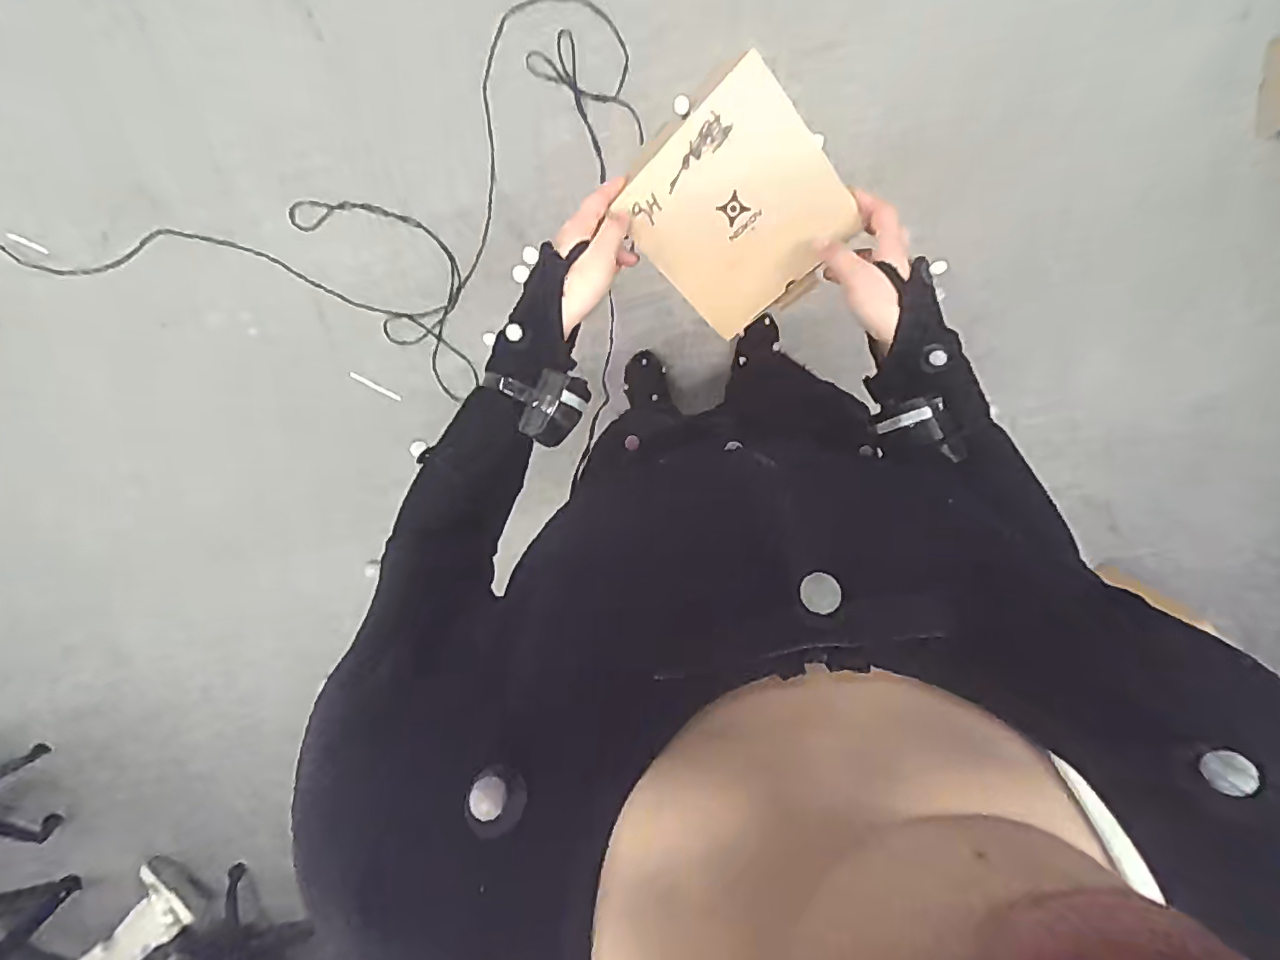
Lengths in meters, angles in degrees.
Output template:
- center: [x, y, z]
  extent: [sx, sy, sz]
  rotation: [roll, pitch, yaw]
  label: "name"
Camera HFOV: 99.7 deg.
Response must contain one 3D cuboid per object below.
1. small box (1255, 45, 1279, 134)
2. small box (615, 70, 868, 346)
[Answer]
- center: [1.466, -0.853, 1.132]
  extent: [0.168, 0.176, 0.179]
  rotation: [-12, 108, 5]
  label: "small box"
- center: [0.095, -0.279, 0.551]
  extent: [0.168, 0.176, 0.179]
  rotation: [-37, 119, 25]
  label: "small box"
